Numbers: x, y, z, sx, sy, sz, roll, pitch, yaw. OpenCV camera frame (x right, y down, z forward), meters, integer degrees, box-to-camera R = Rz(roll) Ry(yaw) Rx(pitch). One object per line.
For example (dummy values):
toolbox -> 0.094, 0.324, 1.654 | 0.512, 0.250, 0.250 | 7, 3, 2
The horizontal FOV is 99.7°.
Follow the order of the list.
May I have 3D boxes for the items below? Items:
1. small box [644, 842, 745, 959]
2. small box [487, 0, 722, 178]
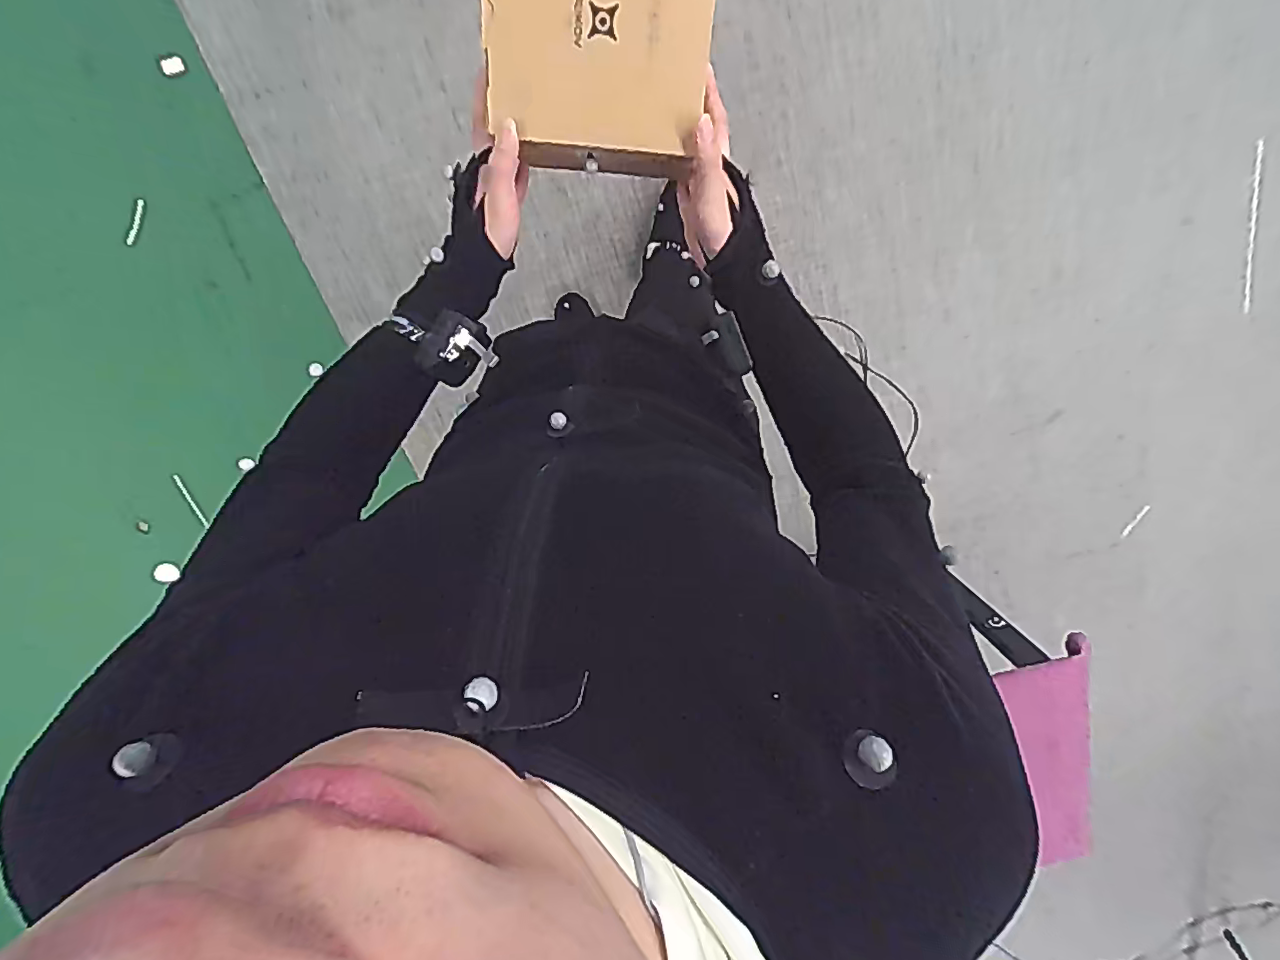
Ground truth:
small box -> 0.113, 0.943, 1.184 | 0.179, 0.176, 0.168 | -19, 112, 2
small box -> -0.027, -0.375, 0.476 | 0.179, 0.176, 0.168 | 5, 113, -2
